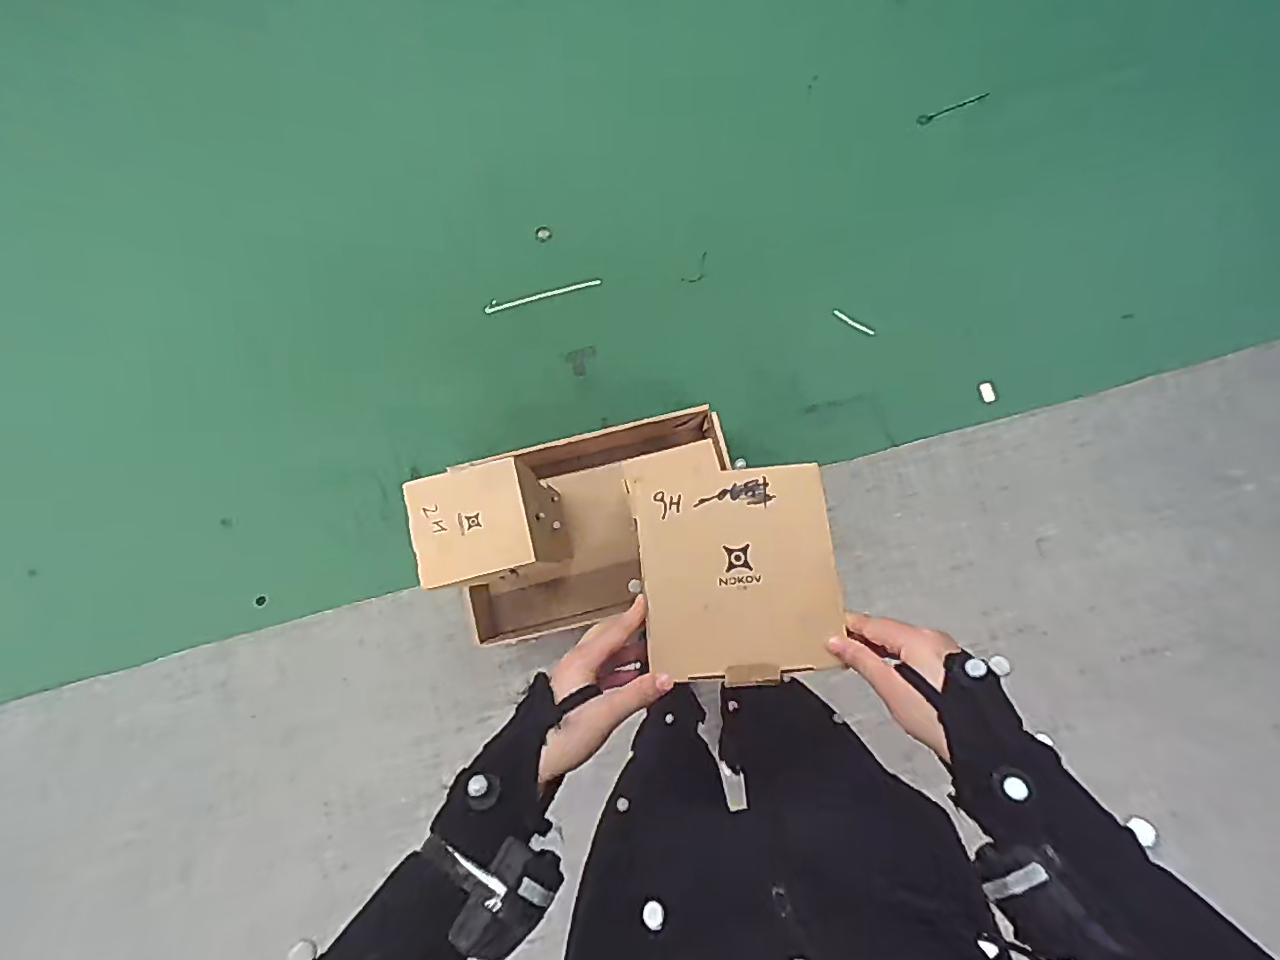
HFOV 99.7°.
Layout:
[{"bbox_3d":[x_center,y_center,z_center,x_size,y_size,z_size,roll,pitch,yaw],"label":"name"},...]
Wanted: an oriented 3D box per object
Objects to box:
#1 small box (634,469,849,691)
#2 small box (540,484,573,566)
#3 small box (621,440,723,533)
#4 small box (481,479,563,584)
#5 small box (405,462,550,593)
[{"bbox_3d":[0.086,0.098,0.537,0.168,0.176,0.179,-6,78,0],"label":"small box"},{"bbox_3d":[-0.255,0.118,1.206,0.168,0.176,0.179,-15,82,-2],"label":"small box"},{"bbox_3d":[0.071,0.036,1.046,0.179,0.176,0.168,-15,83,0],"label":"small box"},{"bbox_3d":[-0.260,0.104,1.043,0.179,0.176,0.168,-14,82,-2],"label":"small box"},{"bbox_3d":[-0.251,0.079,0.879,0.179,0.176,0.168,-14,81,-2],"label":"small box"}]
